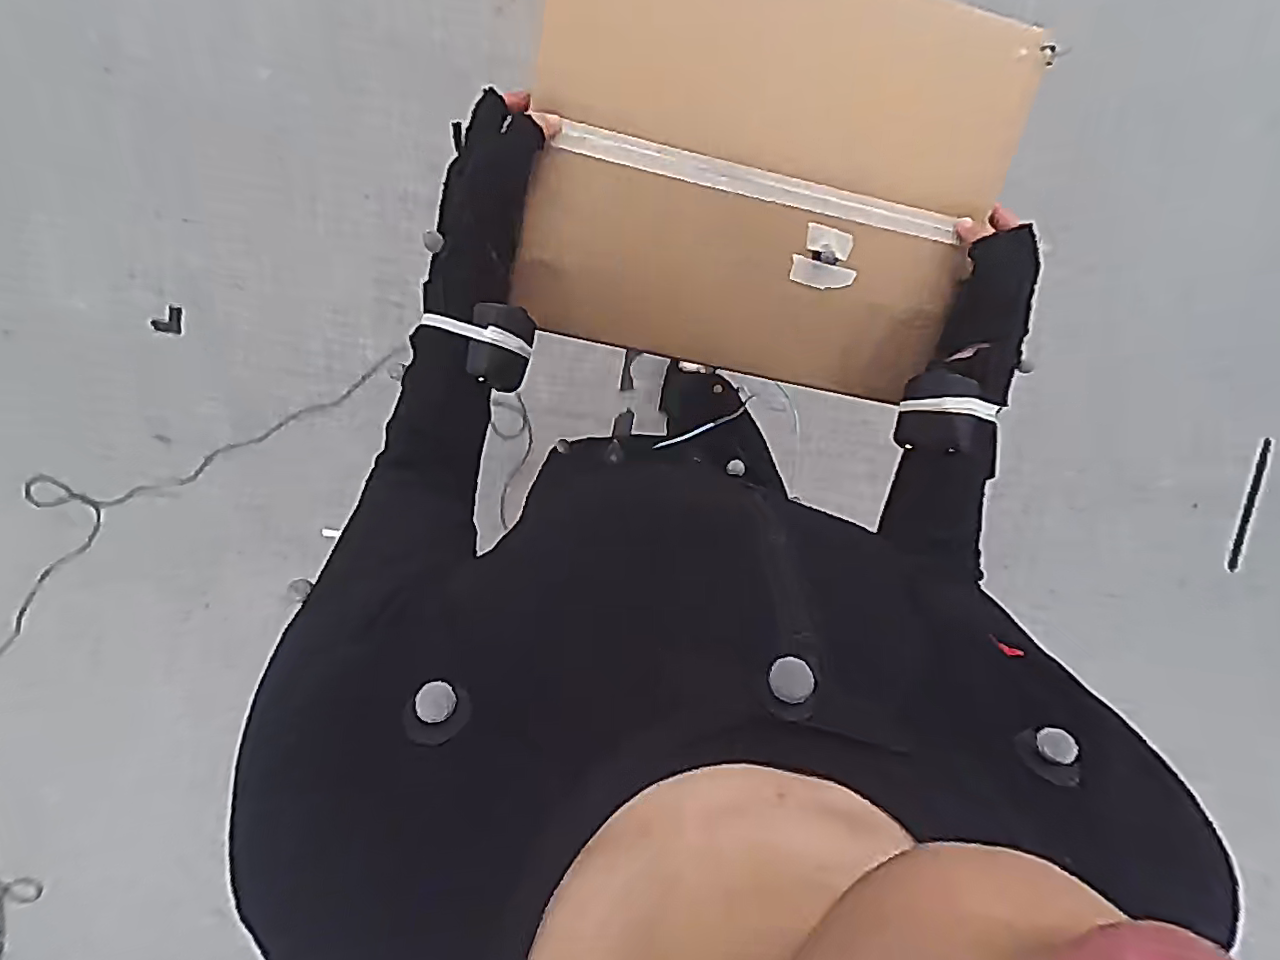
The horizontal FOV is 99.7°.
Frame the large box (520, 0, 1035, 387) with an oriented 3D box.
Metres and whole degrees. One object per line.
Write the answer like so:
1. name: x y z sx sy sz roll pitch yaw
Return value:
1. large box: 0.099 -0.314 0.614 0.408 0.320 0.320 10 109 -8
